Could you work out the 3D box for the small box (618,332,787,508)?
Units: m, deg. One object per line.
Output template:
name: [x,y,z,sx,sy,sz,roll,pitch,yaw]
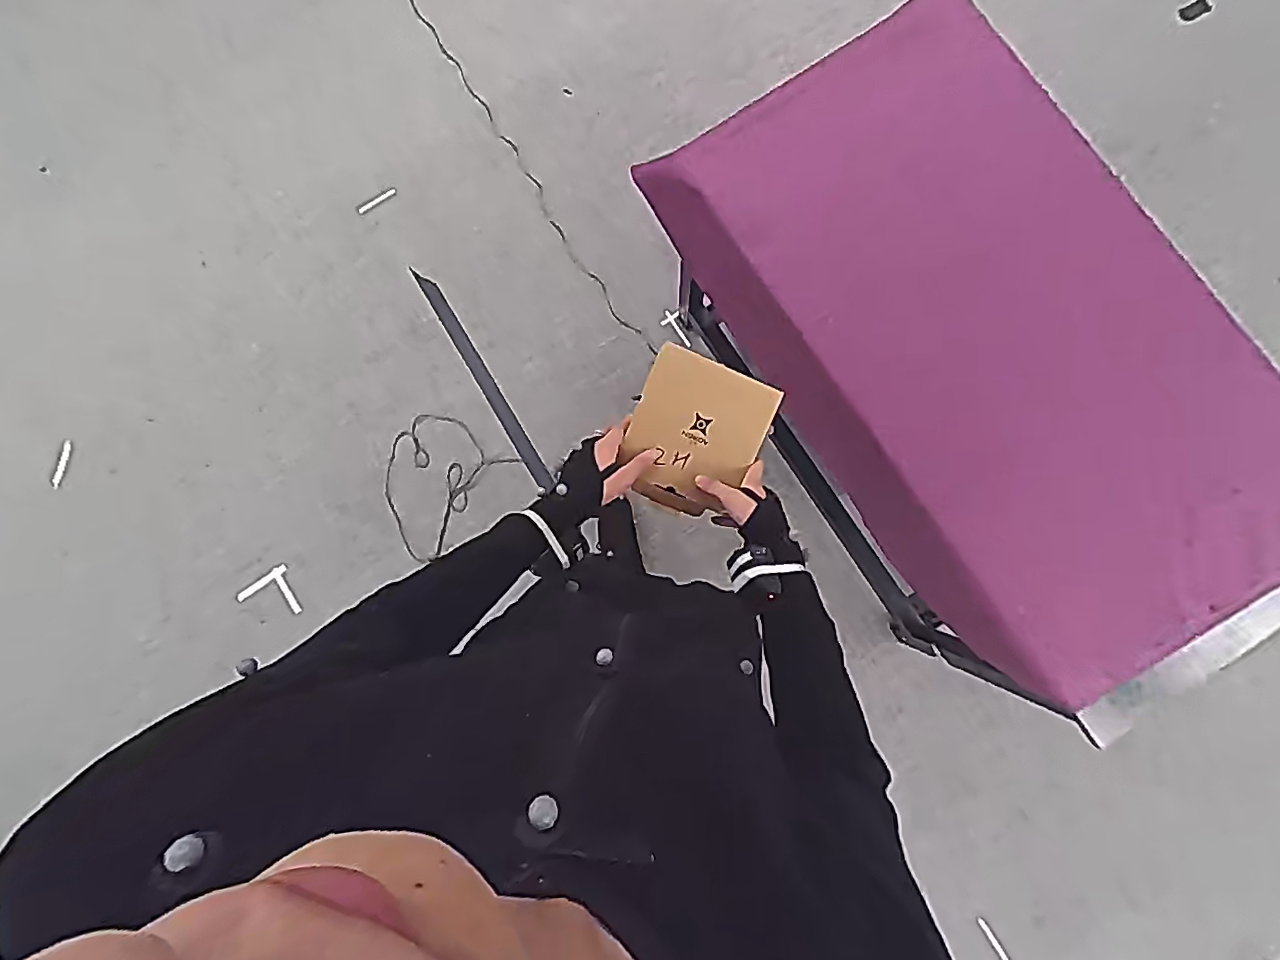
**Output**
small box: [0.075,-0.082,0.759,0.168,0.176,0.179,24,95,-3]
